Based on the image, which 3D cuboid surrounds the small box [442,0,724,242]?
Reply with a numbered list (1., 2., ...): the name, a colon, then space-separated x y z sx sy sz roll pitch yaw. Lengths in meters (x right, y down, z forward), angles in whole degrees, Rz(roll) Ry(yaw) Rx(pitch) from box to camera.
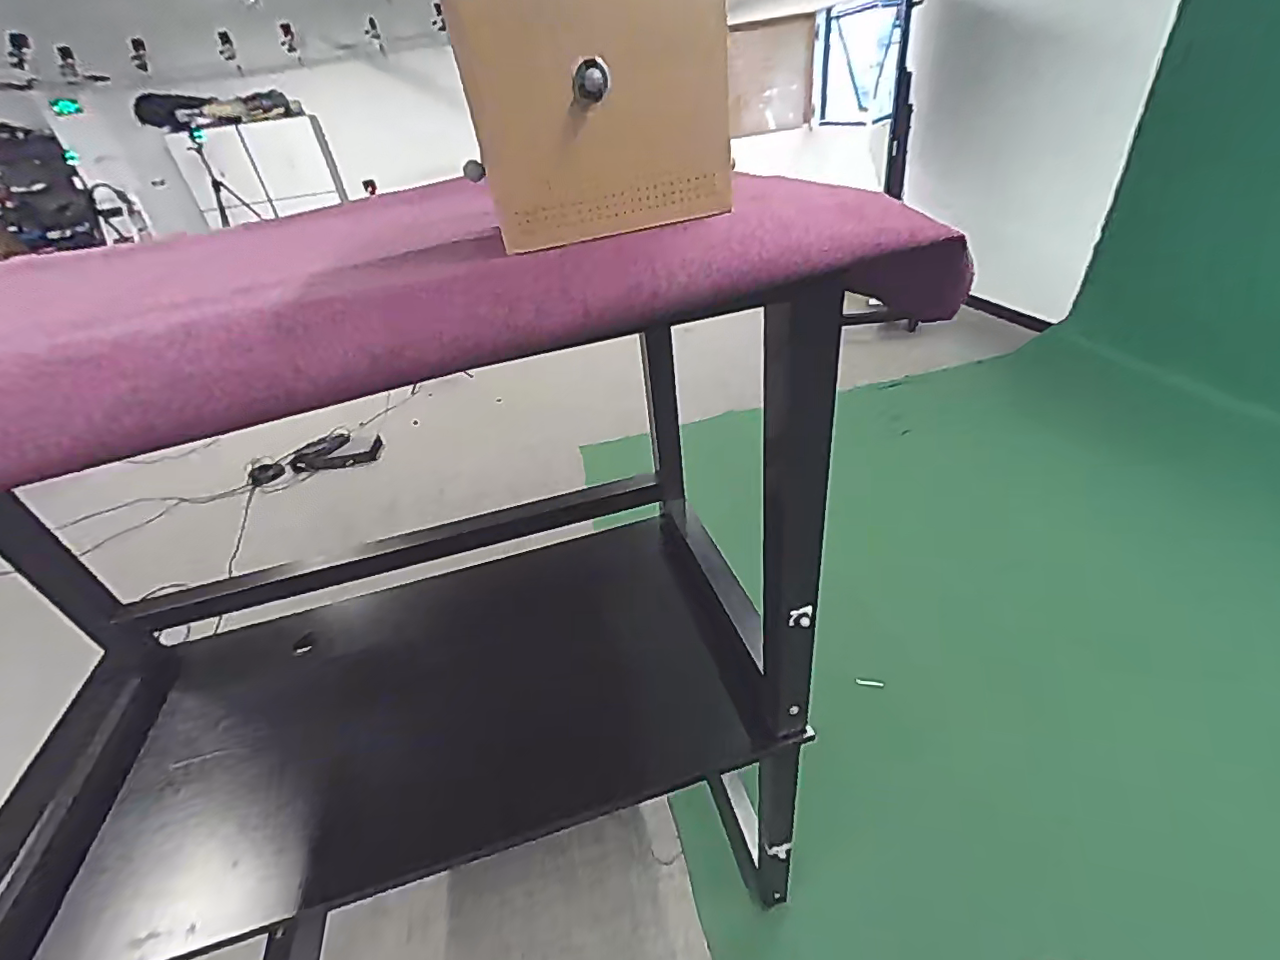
1. small box: -0.041 -0.299 0.414 0.179 0.176 0.168 -15 36 -6
